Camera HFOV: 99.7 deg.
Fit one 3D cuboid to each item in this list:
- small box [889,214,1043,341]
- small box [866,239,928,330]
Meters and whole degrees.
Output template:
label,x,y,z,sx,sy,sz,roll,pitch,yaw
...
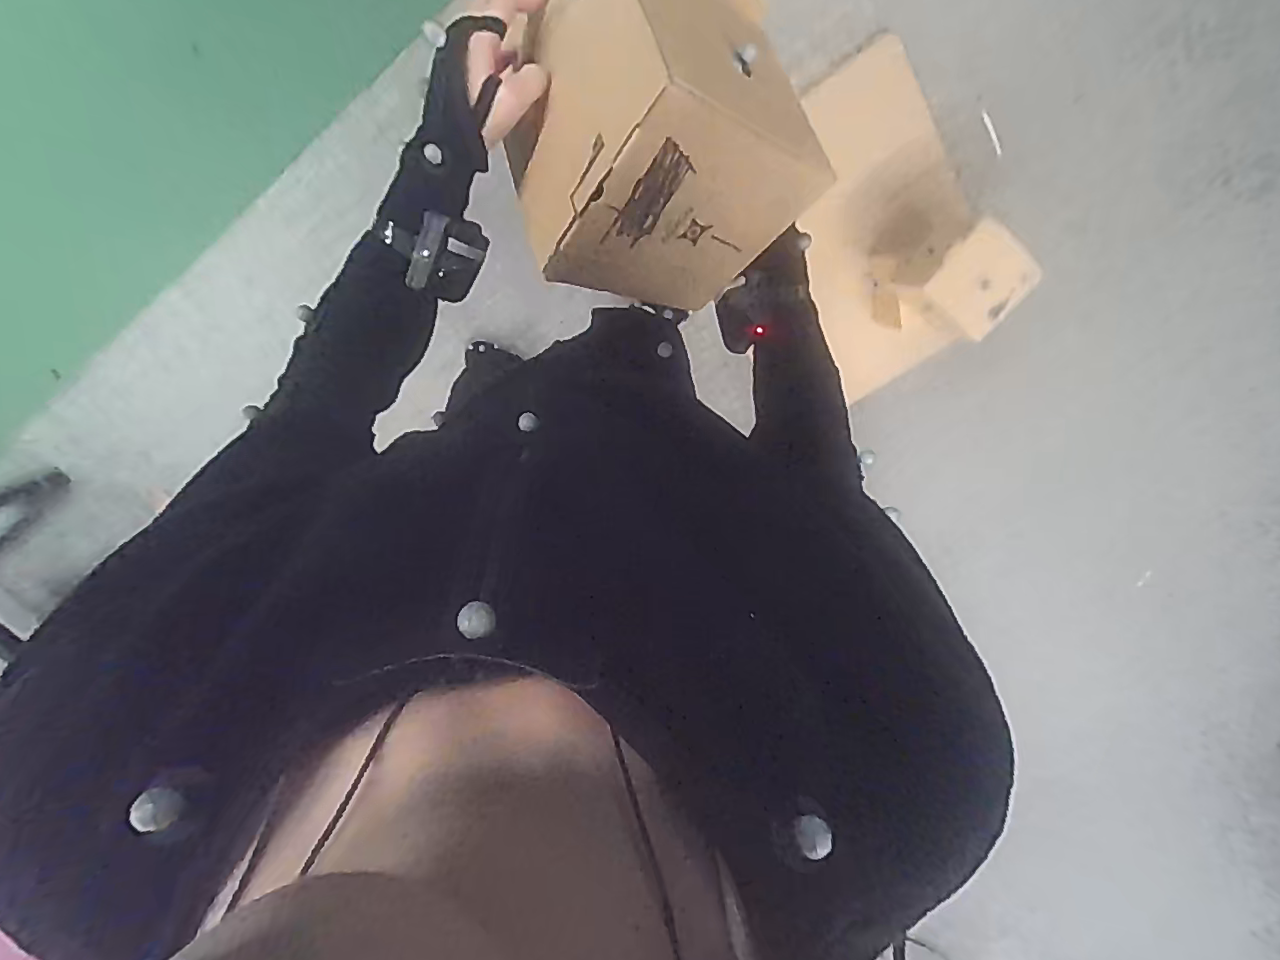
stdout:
label,x,y,z,sx,sy,sz,roll,pitch,yaw
small box,0.654,-0.412,1.110,0.179,0.176,0.168,37,108,-13
small box,0.654,-0.463,1.265,0.179,0.176,0.168,-14,112,6
